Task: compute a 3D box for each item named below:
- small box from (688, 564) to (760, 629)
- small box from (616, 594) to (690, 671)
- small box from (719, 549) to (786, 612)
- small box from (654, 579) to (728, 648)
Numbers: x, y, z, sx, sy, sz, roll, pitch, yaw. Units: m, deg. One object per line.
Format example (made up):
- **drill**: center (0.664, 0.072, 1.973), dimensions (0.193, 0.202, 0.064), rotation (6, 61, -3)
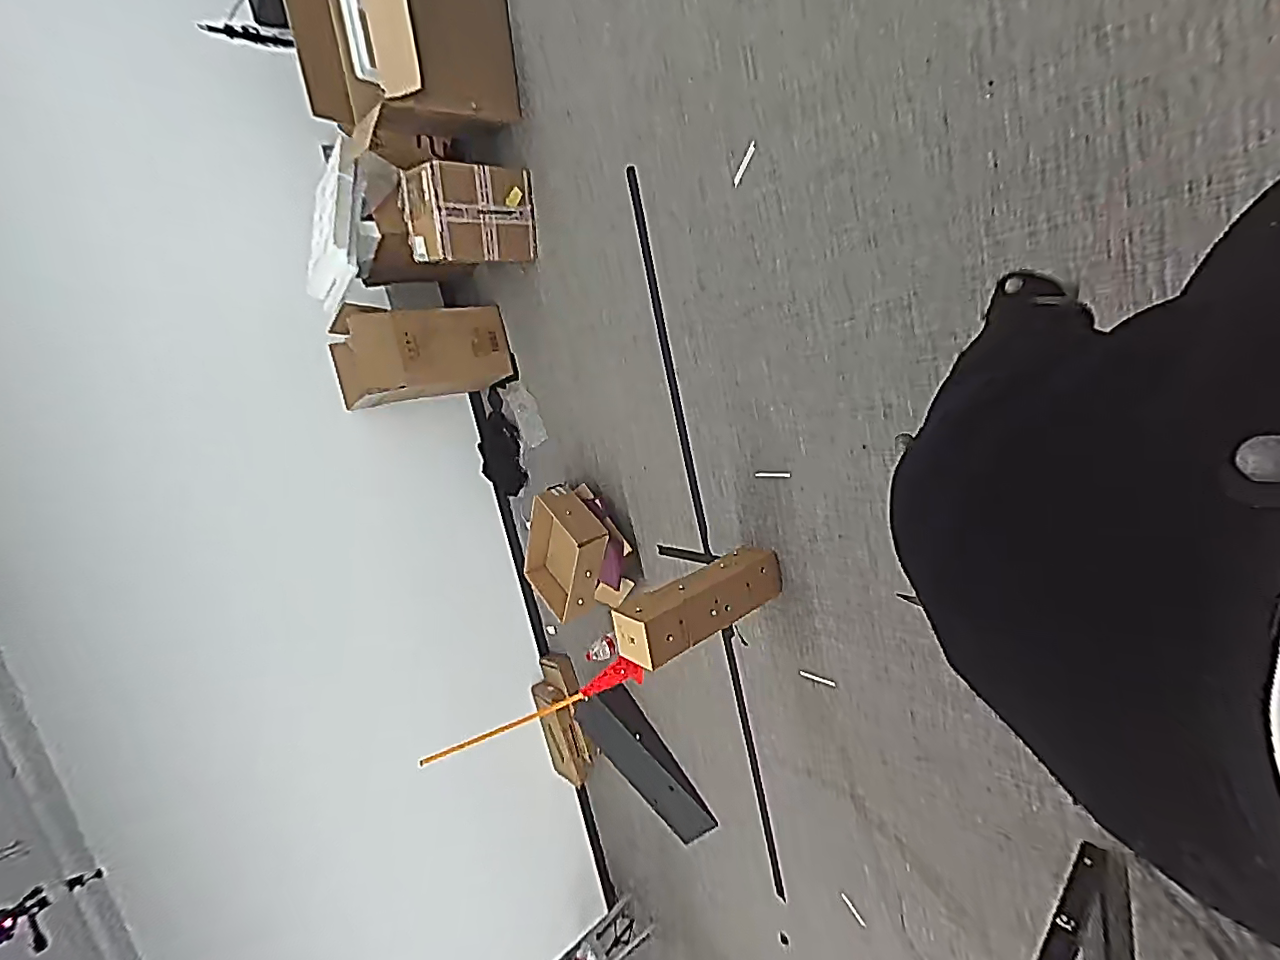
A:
- **small box**: center (0.305, 0.414, 1.955), dimensions (0.179, 0.176, 0.168), rotation (-2, 103, 54)
- **small box**: center (0.048, 0.488, 1.763), dimensions (0.179, 0.176, 0.168), rotation (5, 108, 52)
- **small box**: center (0.430, 0.374, 2.053), dimensions (0.168, 0.176, 0.179), rotation (1, 106, 53)
- **small box**: center (0.176, 0.450, 1.858), dimensions (0.179, 0.176, 0.168), rotation (-2, 103, 53)
